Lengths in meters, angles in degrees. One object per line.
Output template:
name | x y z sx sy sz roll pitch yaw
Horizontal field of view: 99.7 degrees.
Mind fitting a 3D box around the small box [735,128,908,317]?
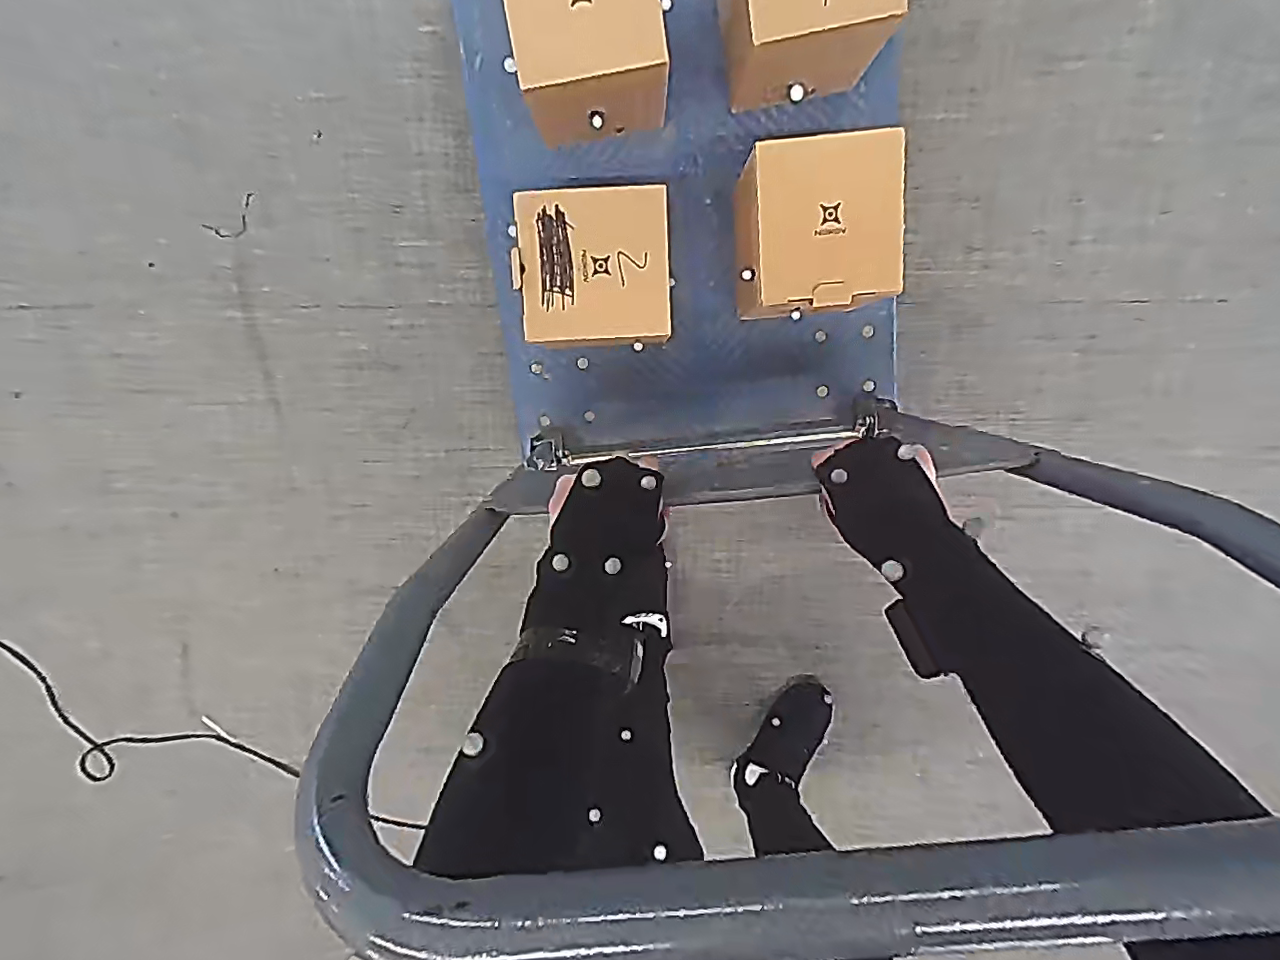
small box | 0.217 -0.310 0.684 0.168 0.176 0.179 -4 102 2

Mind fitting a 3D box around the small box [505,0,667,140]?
small box | -0.060 -0.532 0.642 0.168 0.176 0.179 -9 101 2

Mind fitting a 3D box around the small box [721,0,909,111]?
small box | 0.189 -0.573 0.628 0.168 0.176 0.179 -9 103 4
